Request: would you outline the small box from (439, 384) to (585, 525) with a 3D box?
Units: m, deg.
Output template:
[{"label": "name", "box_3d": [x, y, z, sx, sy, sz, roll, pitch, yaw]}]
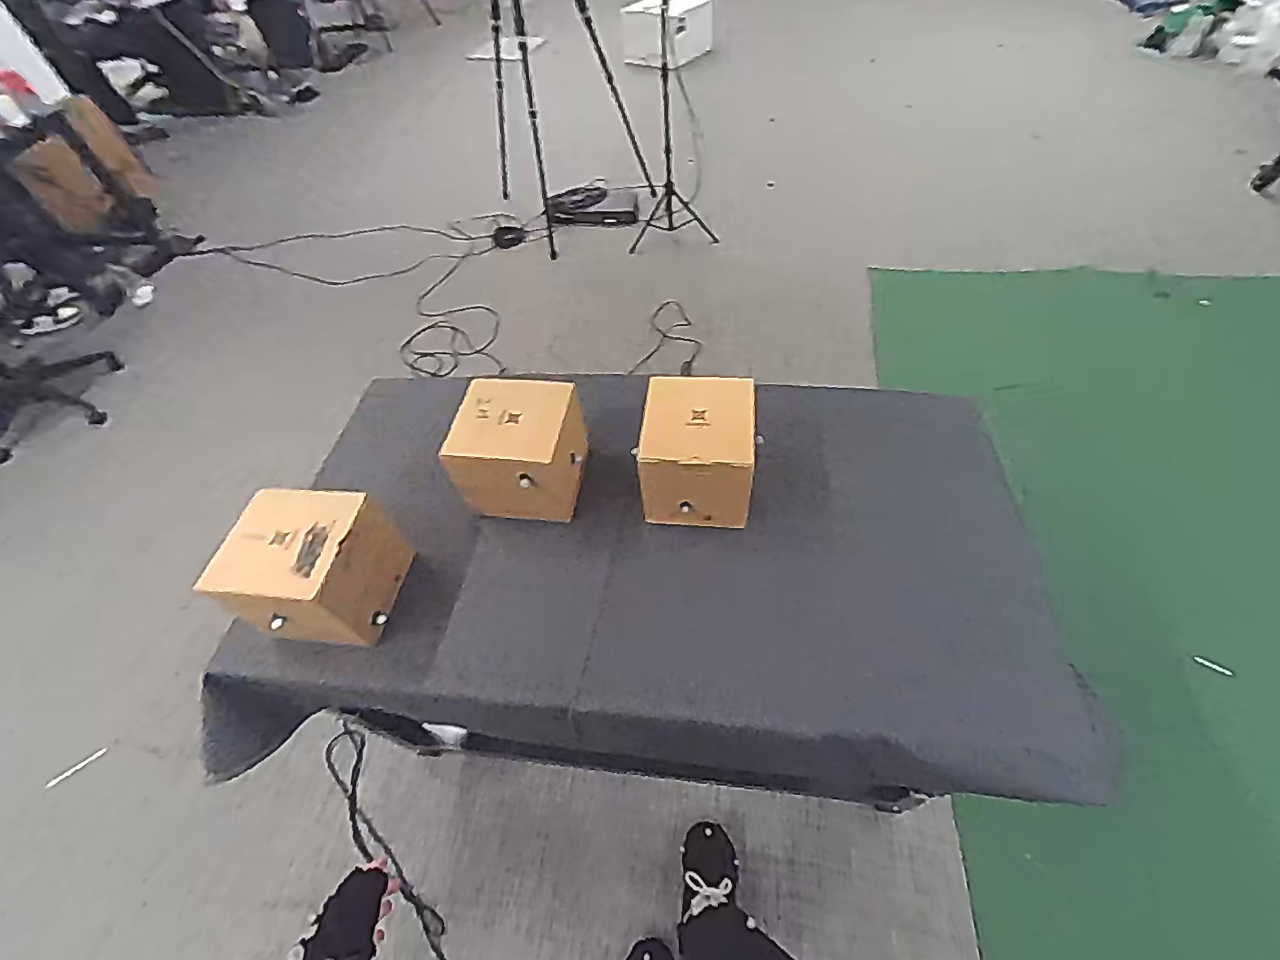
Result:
[{"label": "small box", "box_3d": [-0.198, -0.038, 0.900, 0.179, 0.176, 0.168, 5, 54, 8]}]

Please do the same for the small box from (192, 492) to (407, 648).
[{"label": "small box", "box_3d": [-0.476, 0.136, 0.793, 0.179, 0.176, 0.168, 3, 53, 8]}]

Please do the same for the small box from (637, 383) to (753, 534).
[{"label": "small box", "box_3d": [0.091, -0.034, 0.876, 0.168, 0.176, 0.179, 3, 54, 7]}]
